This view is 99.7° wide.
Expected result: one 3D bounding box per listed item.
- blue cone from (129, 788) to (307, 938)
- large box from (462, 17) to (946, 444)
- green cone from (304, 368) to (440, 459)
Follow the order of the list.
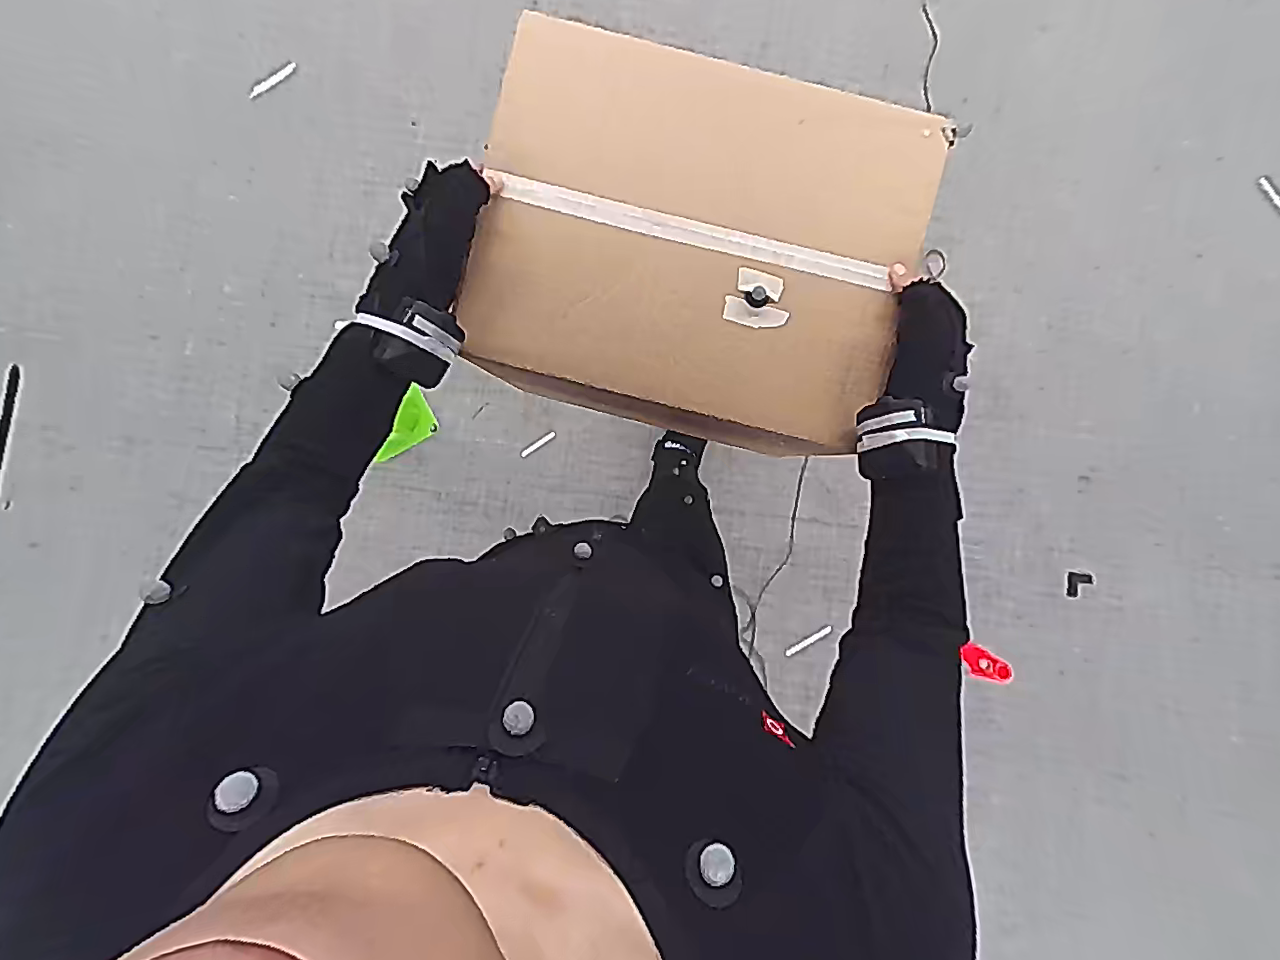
[{"bbox_3d":[-0.973,0.896,1.243,0.192,0.380,0.193,11,86,2],"label":"blue cone"},{"bbox_3d":[0.056,-0.239,0.649,0.408,0.320,0.320,14,92,-1],"label":"large box"},{"bbox_3d":[-0.676,-0.194,1.309,0.202,0.368,0.200,-30,86,-1],"label":"green cone"}]
